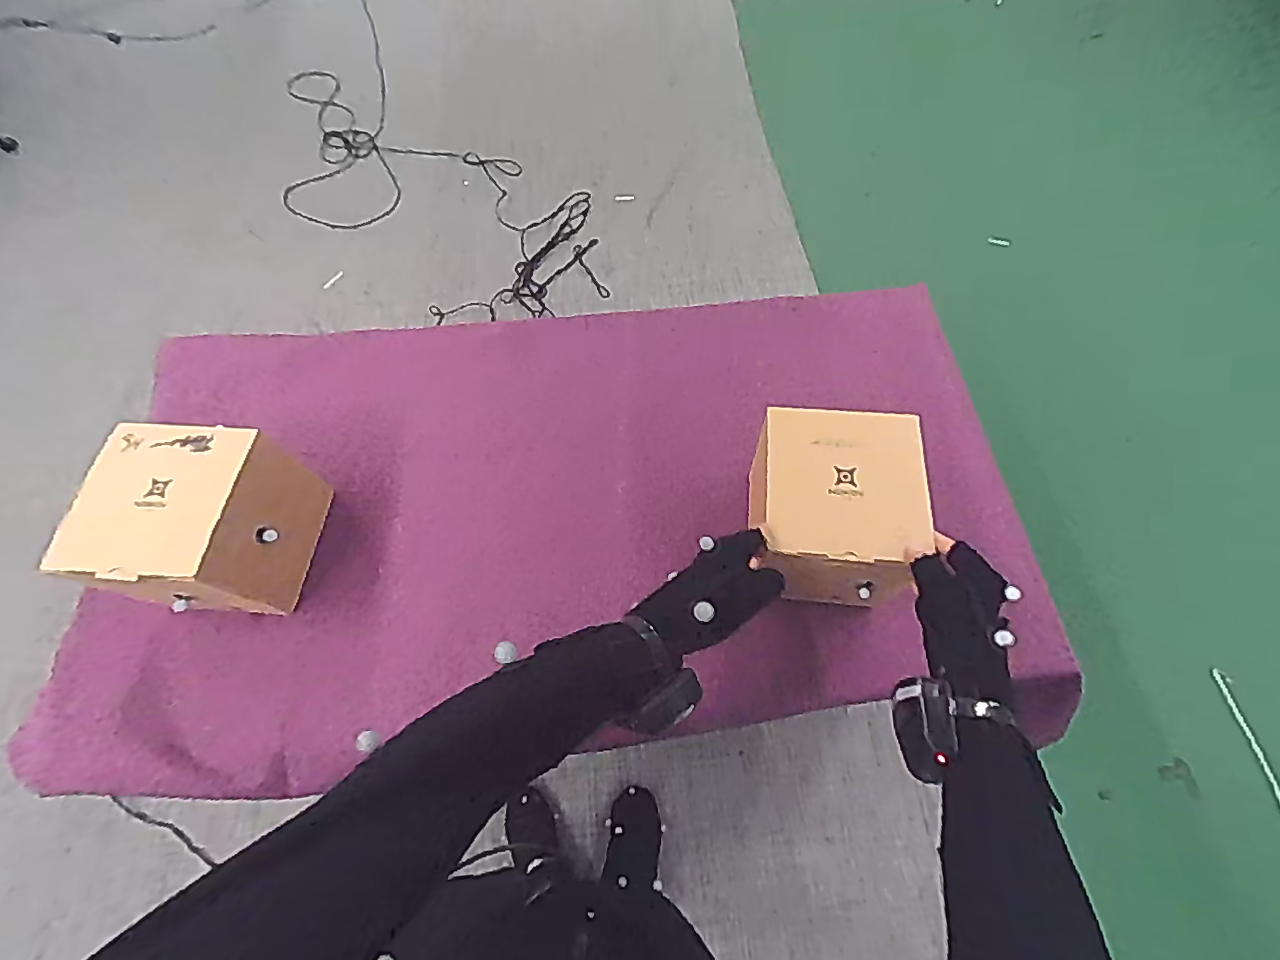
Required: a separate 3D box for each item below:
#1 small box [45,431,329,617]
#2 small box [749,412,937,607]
[{"bbox_3d":[-0.510,0.061,0.645,0.168,0.176,0.179,3,65,2],"label":"small box"},{"bbox_3d":[0.222,0.042,0.636,0.168,0.176,0.179,4,63,6],"label":"small box"}]
